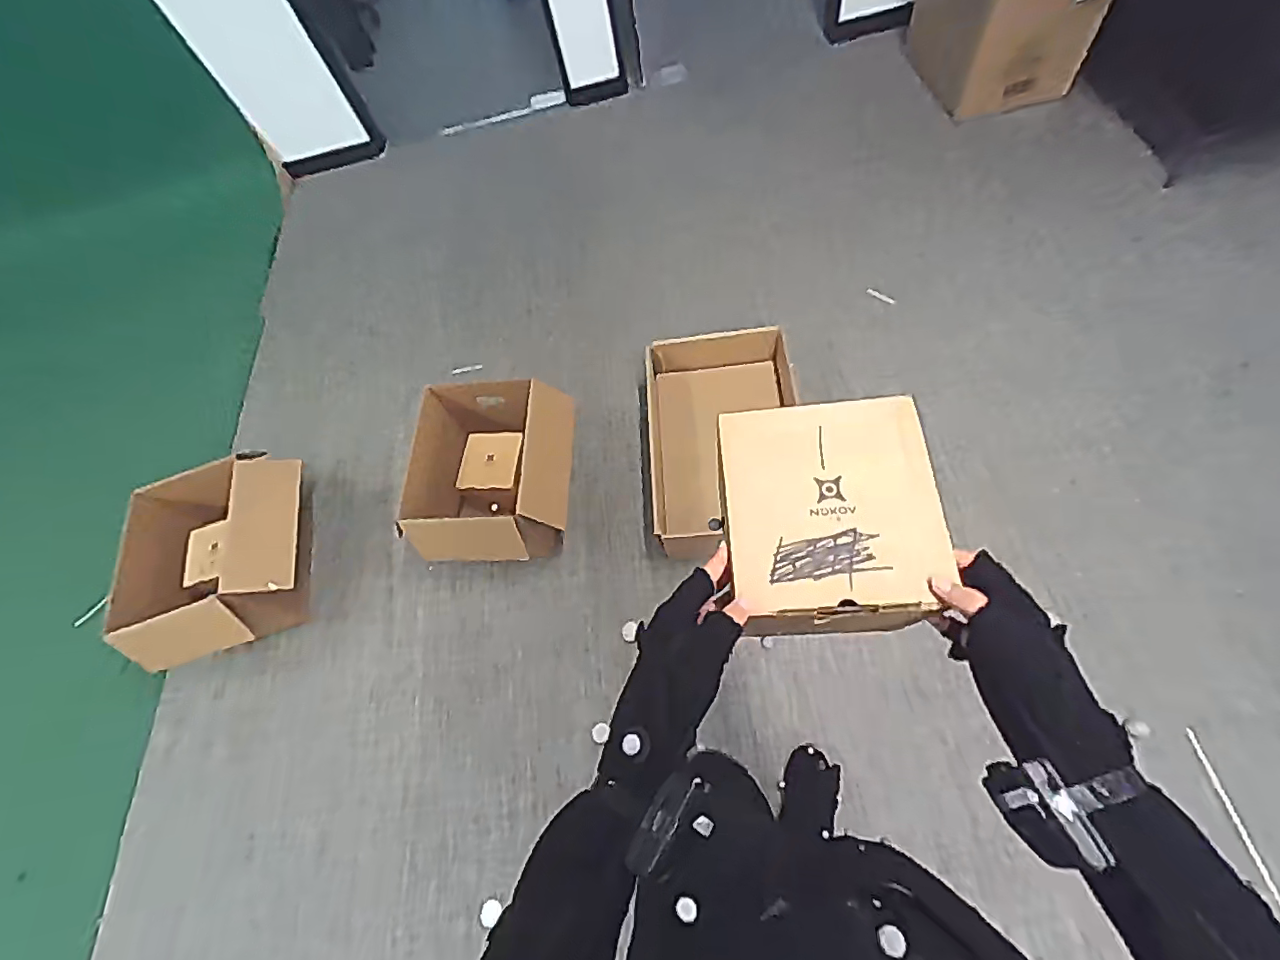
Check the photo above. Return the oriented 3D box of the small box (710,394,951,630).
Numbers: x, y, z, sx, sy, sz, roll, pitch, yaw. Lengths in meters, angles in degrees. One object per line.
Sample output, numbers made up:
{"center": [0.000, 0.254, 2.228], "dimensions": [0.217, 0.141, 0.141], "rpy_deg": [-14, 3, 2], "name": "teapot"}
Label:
{"center": [0.160, 0.044, 0.511], "dimensions": [0.168, 0.176, 0.179], "rpy_deg": [-6, 66, 7], "name": "small box"}
